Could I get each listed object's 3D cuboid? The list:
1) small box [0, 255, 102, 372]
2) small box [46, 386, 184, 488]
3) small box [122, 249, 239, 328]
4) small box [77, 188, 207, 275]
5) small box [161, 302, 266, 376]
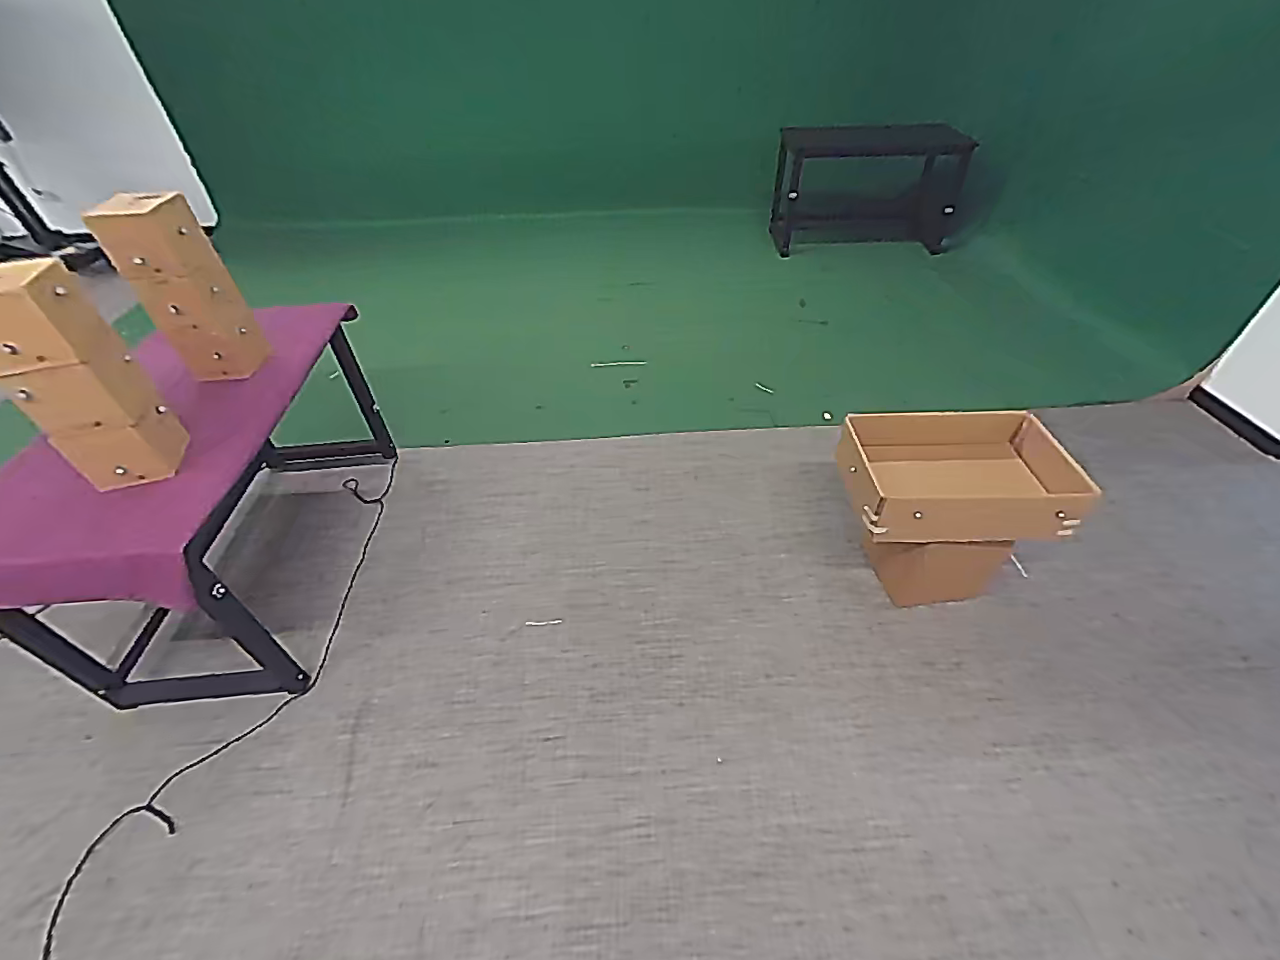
[{"bbox_3d":[-1.291,-0.347,1.128,0.168,0.176,0.179,-14,45,-14],"label":"small box"},{"bbox_3d":[-1.292,-0.108,1.350,0.168,0.176,0.179,-14,46,-12],"label":"small box"},{"bbox_3d":[-1.326,-0.554,1.579,0.168,0.176,0.179,-3,45,-3],"label":"small box"},{"bbox_3d":[-1.331,-0.673,1.465,0.168,0.176,0.179,-4,45,-3],"label":"small box"},{"bbox_3d":[-1.320,-0.437,1.693,0.168,0.176,0.179,-2,44,-1],"label":"small box"}]
